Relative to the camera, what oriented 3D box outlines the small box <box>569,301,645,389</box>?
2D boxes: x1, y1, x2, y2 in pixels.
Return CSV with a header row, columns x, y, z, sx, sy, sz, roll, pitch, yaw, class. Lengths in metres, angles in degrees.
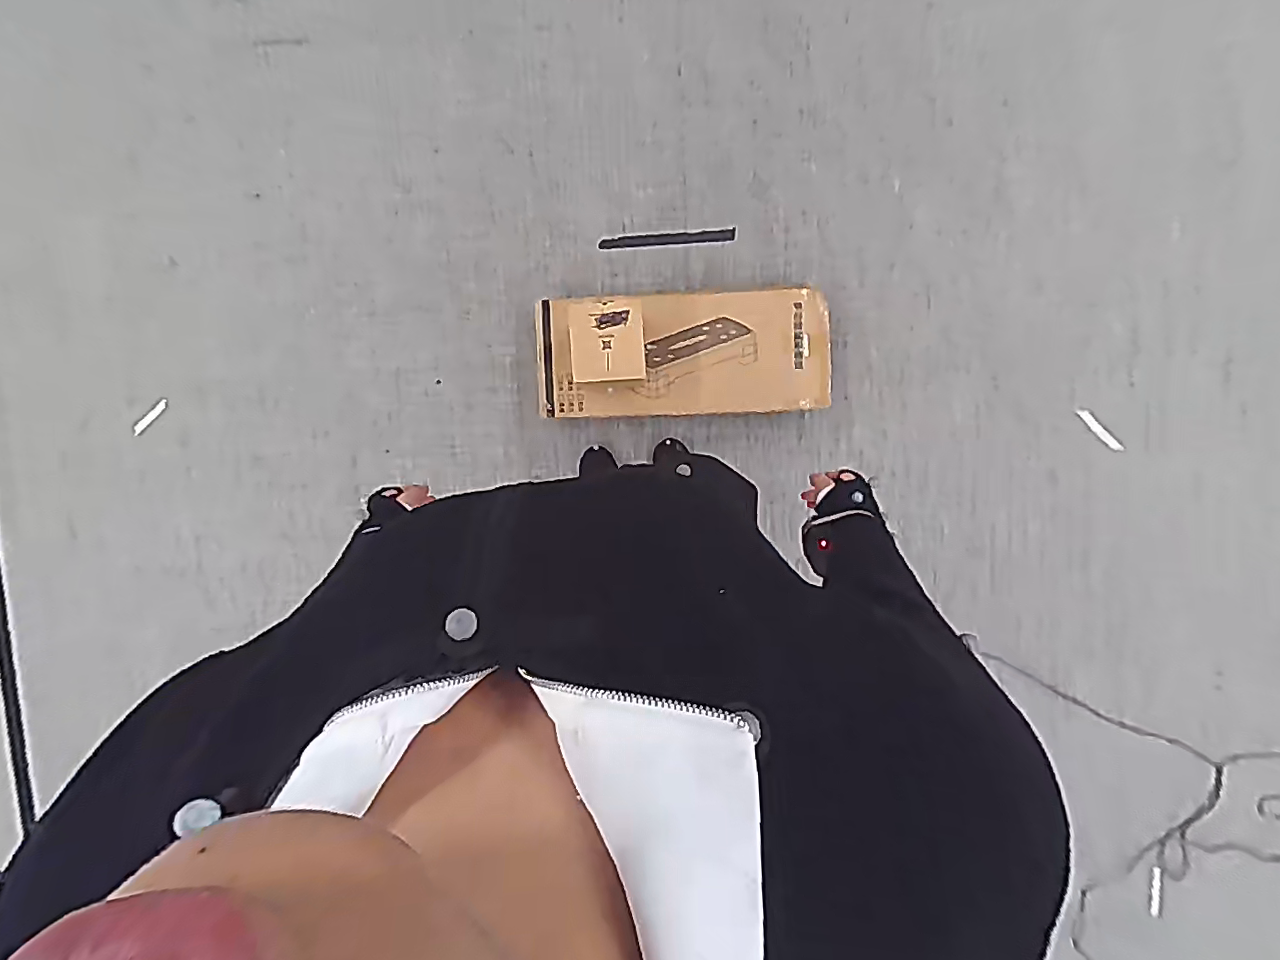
x,y,z,sx,sy,sz,roll,pitch,yaw,class
-0.074,-0.314,1.285,0.168,0.176,0.179,-3,95,2,small box
